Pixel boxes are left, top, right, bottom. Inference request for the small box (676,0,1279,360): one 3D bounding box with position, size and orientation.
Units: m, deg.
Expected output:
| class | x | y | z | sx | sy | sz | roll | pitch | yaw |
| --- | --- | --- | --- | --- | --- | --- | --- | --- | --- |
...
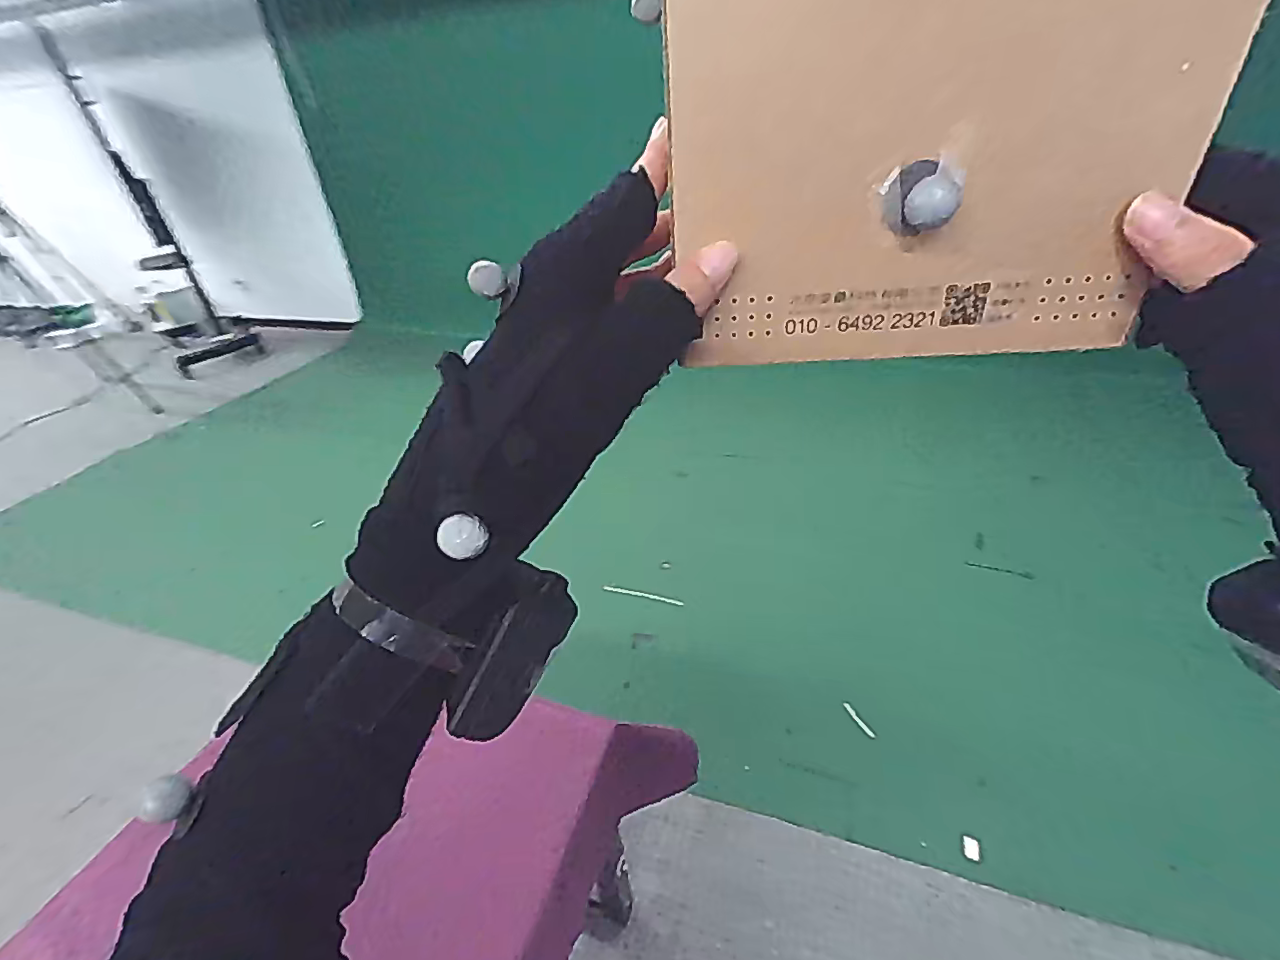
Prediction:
| class | x | y | z | sx | sy | sz | roll | pitch | yaw |
| --- | --- | --- | --- | --- | --- | --- | --- | --- | --- |
| small box | 0.100 | -0.160 | 0.232 | 0.168 | 0.176 | 0.179 | -2 | 33 | 6 |
